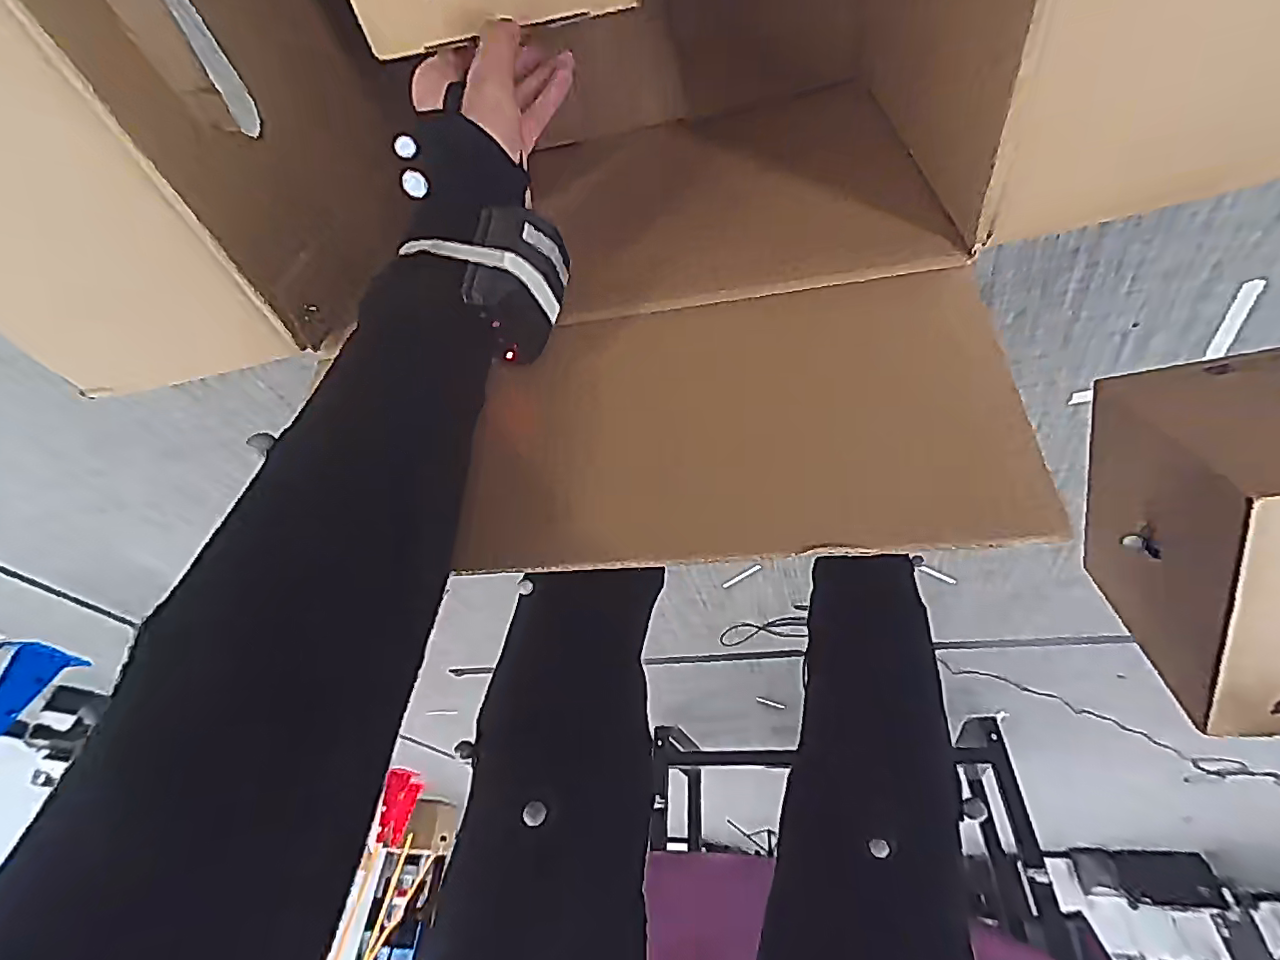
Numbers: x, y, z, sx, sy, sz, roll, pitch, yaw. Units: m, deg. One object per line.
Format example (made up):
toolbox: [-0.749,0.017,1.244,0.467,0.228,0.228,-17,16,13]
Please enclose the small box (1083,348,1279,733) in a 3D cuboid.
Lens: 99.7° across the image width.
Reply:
small box: [0.407,0.029,0.332,0.168,0.176,0.179,-9,116,21]
